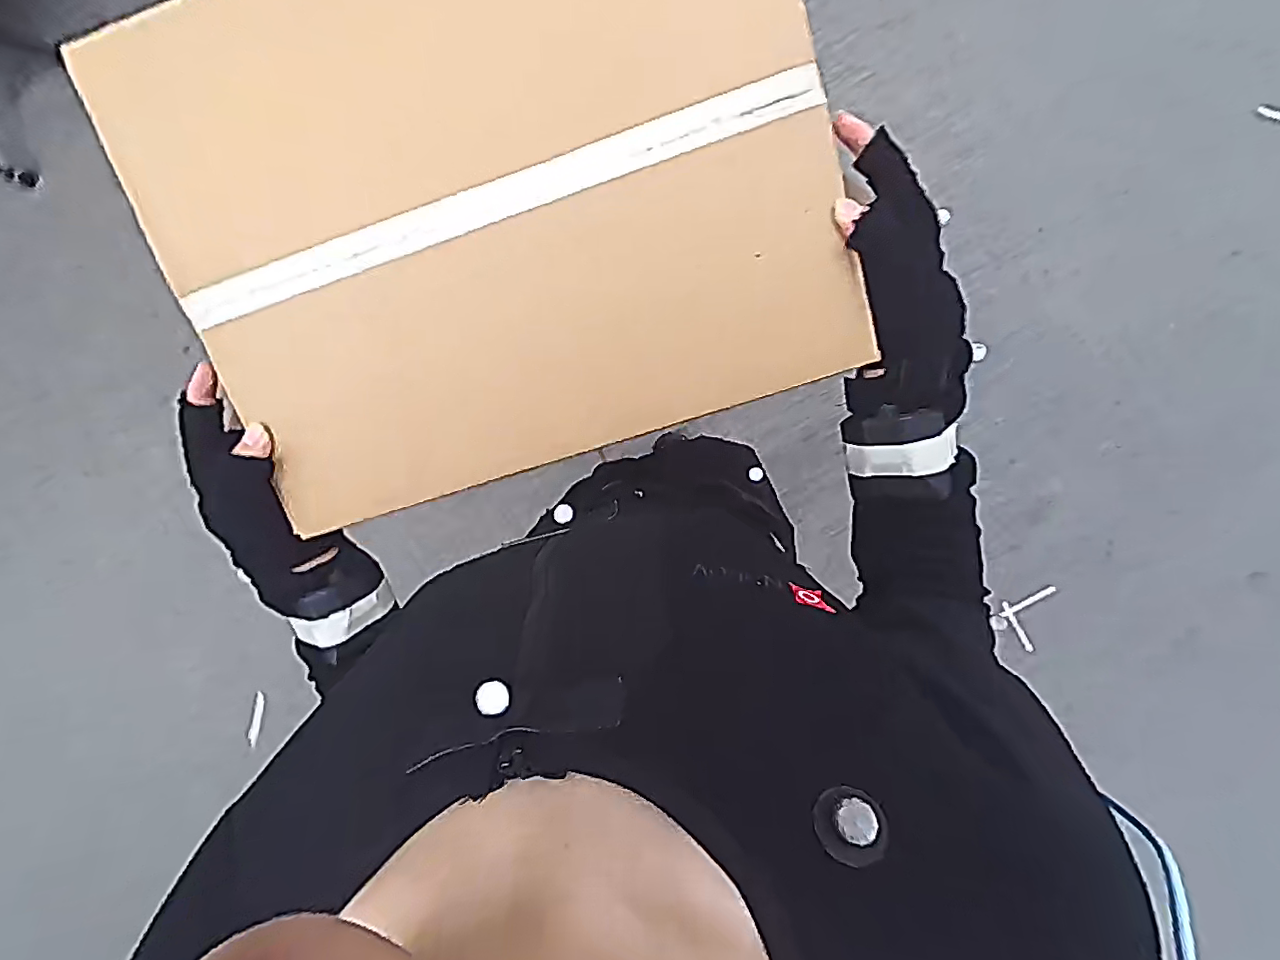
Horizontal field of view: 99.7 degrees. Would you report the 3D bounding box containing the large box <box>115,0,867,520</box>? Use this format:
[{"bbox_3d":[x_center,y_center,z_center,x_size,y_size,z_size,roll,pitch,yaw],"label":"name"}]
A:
[{"bbox_3d":[-0.083,-0.201,0.480,0.408,0.320,0.320,-17,103,6],"label":"large box"}]
